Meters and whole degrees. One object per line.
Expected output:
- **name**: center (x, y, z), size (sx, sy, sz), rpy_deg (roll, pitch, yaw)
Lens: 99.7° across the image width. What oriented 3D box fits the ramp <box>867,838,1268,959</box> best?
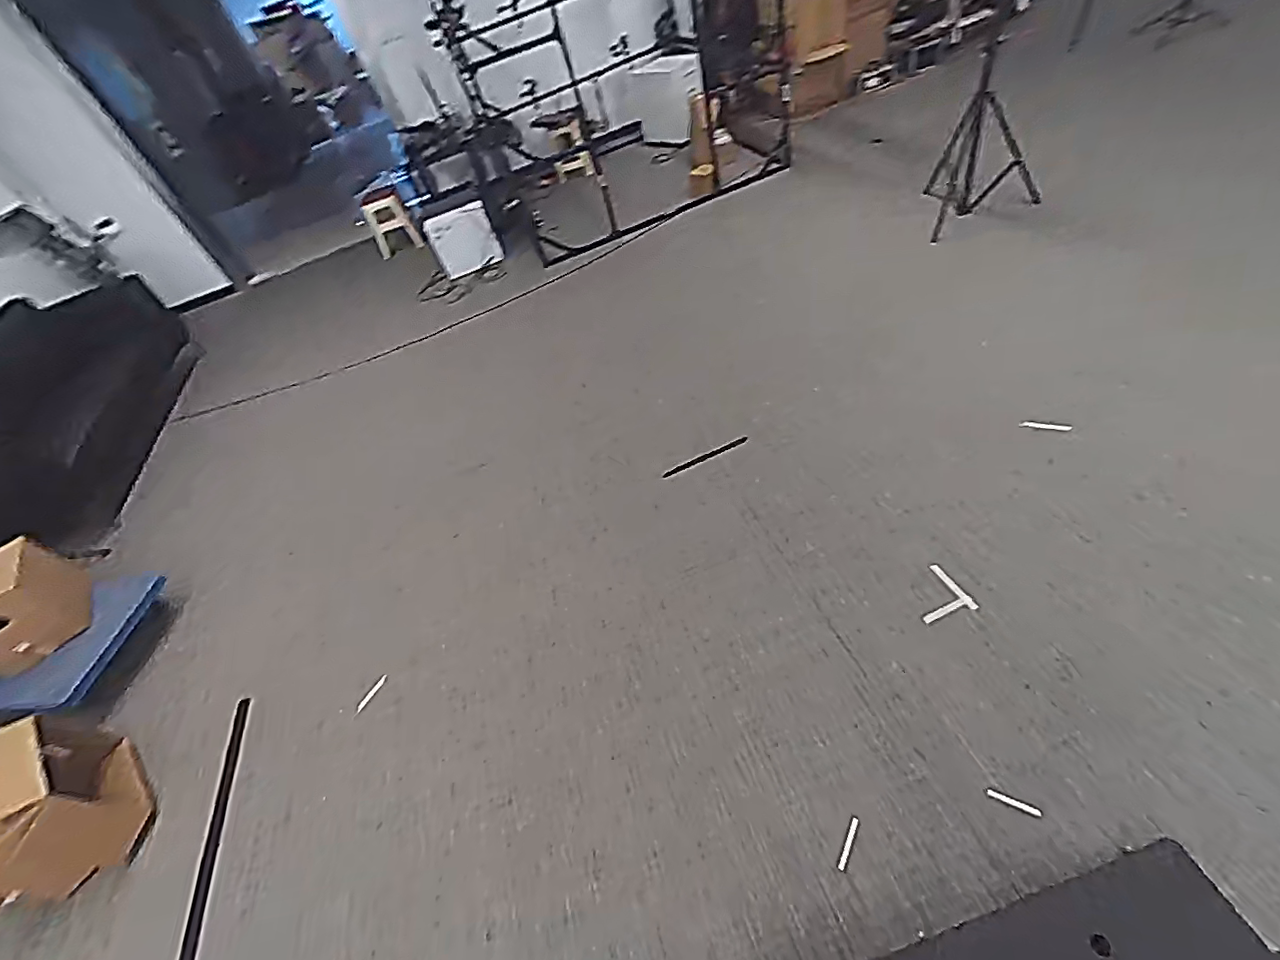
- **ramp**: center (0.724, 1.052, 0.932), size (0.991, 0.206, 0.509), rpy_deg (-23, 44, -3)
